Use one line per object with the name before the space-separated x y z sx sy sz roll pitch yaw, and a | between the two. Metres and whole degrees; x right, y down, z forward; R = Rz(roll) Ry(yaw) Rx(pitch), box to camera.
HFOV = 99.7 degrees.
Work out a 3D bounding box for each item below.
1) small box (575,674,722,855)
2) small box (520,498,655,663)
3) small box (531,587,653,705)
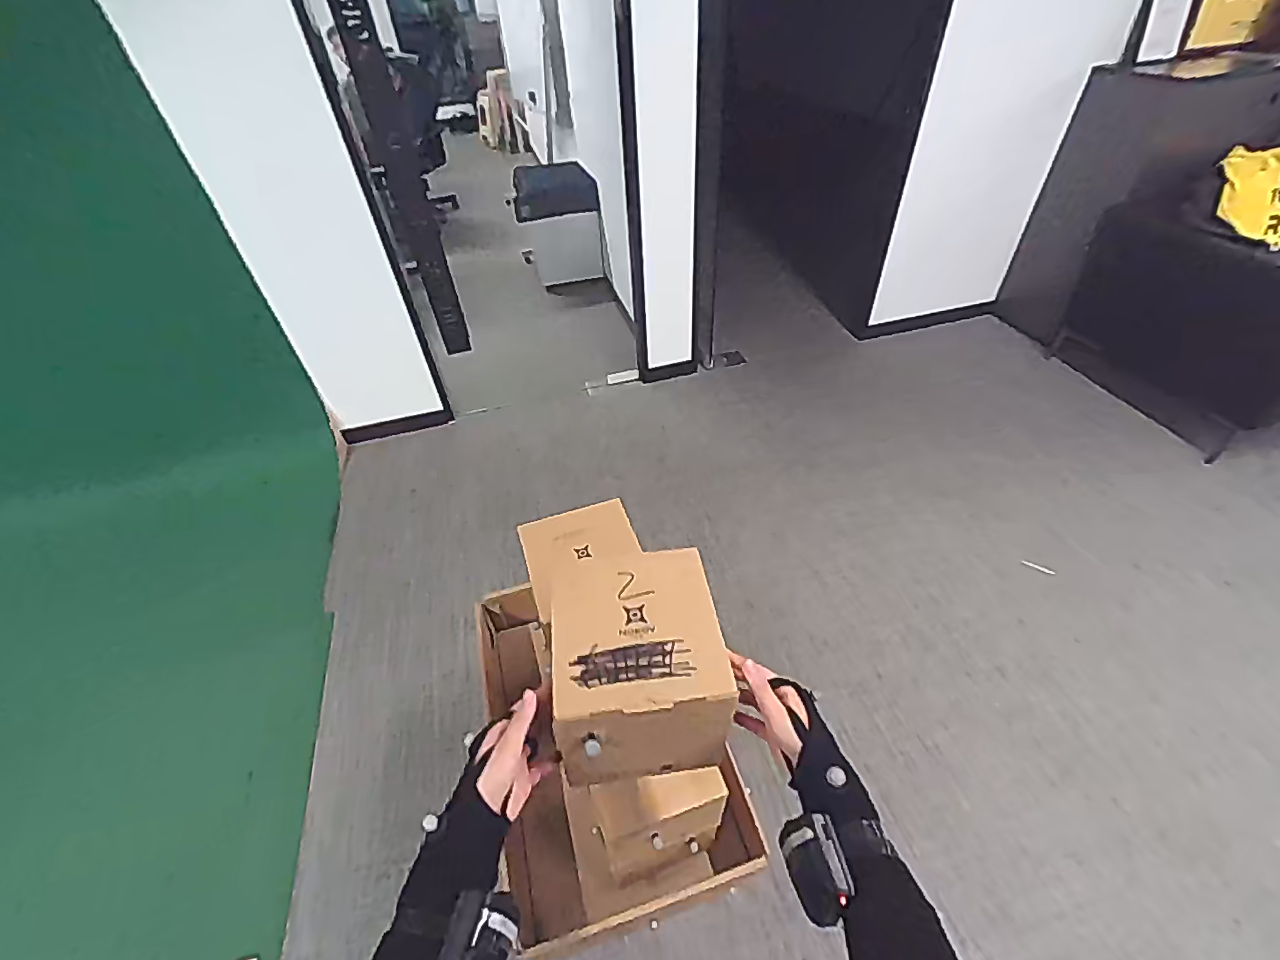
small box | 0.011 0.425 0.801 0.168 0.176 0.179 -14 45 -11
small box | -0.078 0.162 0.840 0.168 0.176 0.179 -14 49 -12
small box | -0.081 0.274 0.959 0.168 0.176 0.179 -17 49 -14
